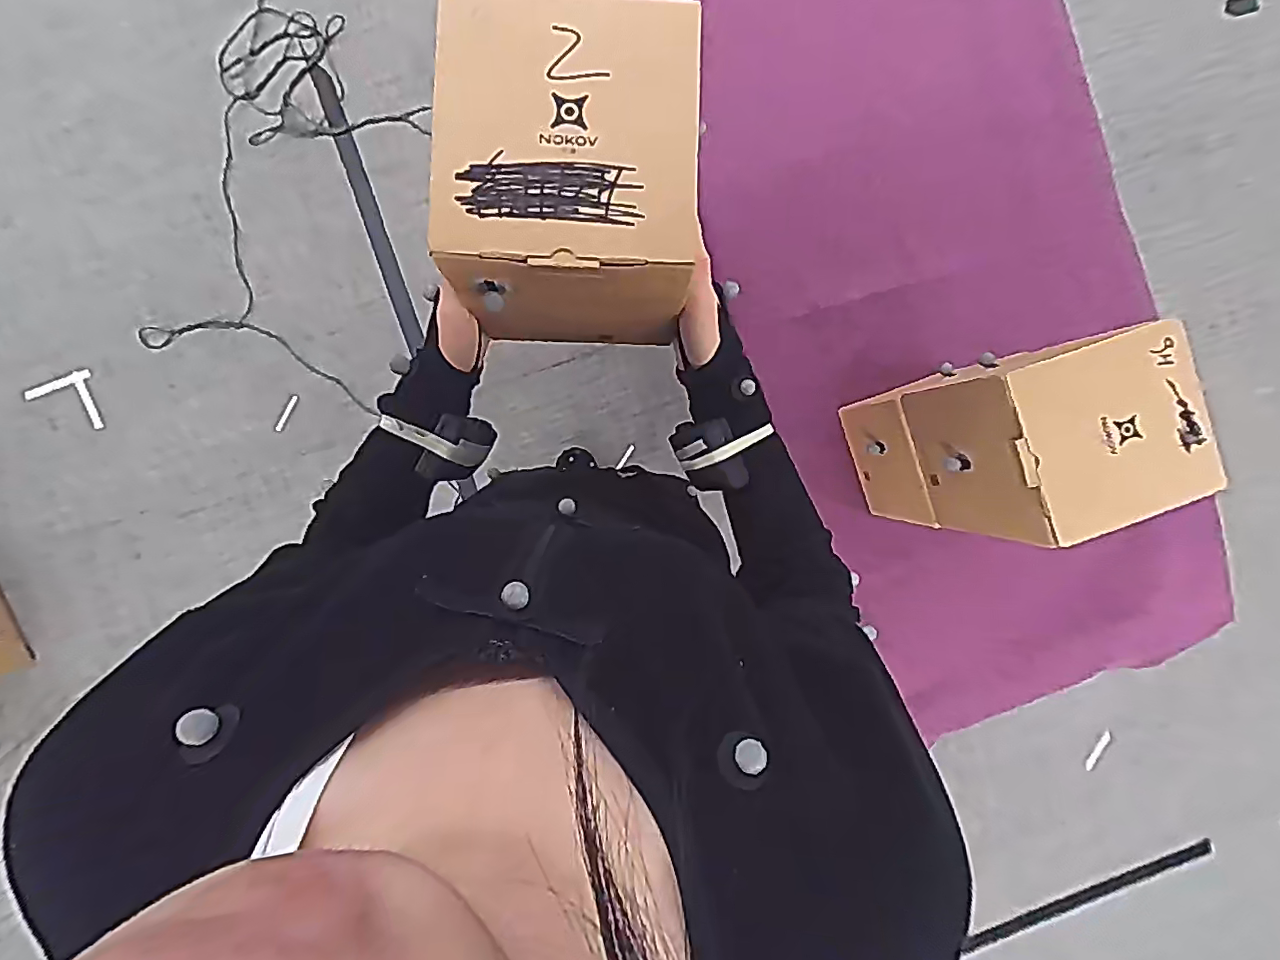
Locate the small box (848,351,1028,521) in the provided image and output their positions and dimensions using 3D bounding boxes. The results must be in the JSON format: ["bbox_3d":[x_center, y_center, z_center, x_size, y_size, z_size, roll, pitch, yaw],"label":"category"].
[{"bbox_3d":[0.402,-0.054,0.724,0.179,0.176,0.168,-19,93,-3],"label":"small box"}]

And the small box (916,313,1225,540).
[{"bbox_3d":[0.418,-0.049,0.561,0.179,0.176,0.168,-18,93,-3],"label":"small box"}]
